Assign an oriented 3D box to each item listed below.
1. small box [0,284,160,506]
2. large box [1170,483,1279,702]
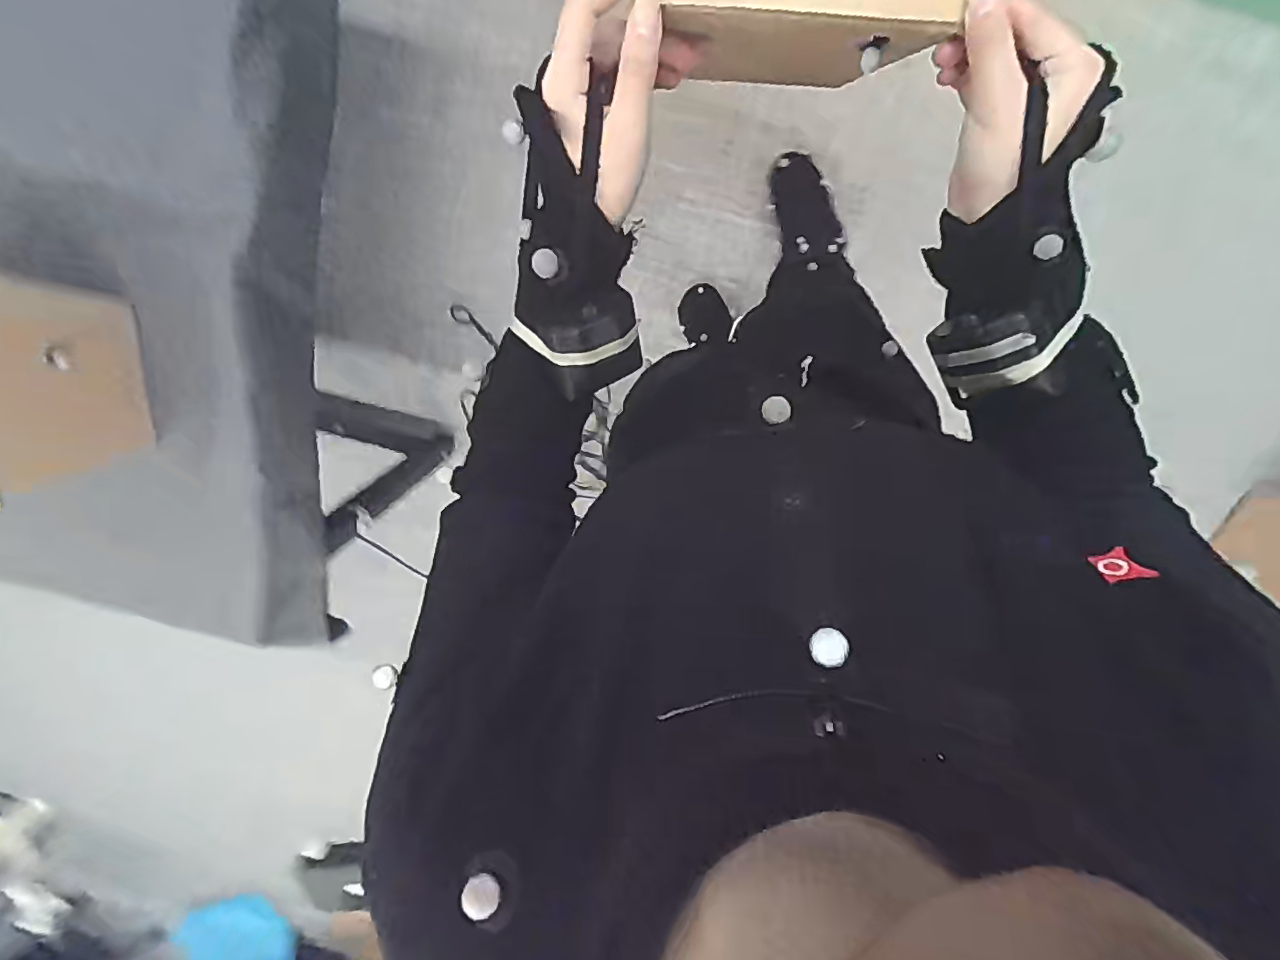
[{"bbox_3d":[-0.660,-0.099,0.562,0.168,0.176,0.179,12,114,2],"label":"small box"},{"bbox_3d":[1.551,0.265,1.202,0.320,0.320,0.408,12,114,1],"label":"large box"}]
